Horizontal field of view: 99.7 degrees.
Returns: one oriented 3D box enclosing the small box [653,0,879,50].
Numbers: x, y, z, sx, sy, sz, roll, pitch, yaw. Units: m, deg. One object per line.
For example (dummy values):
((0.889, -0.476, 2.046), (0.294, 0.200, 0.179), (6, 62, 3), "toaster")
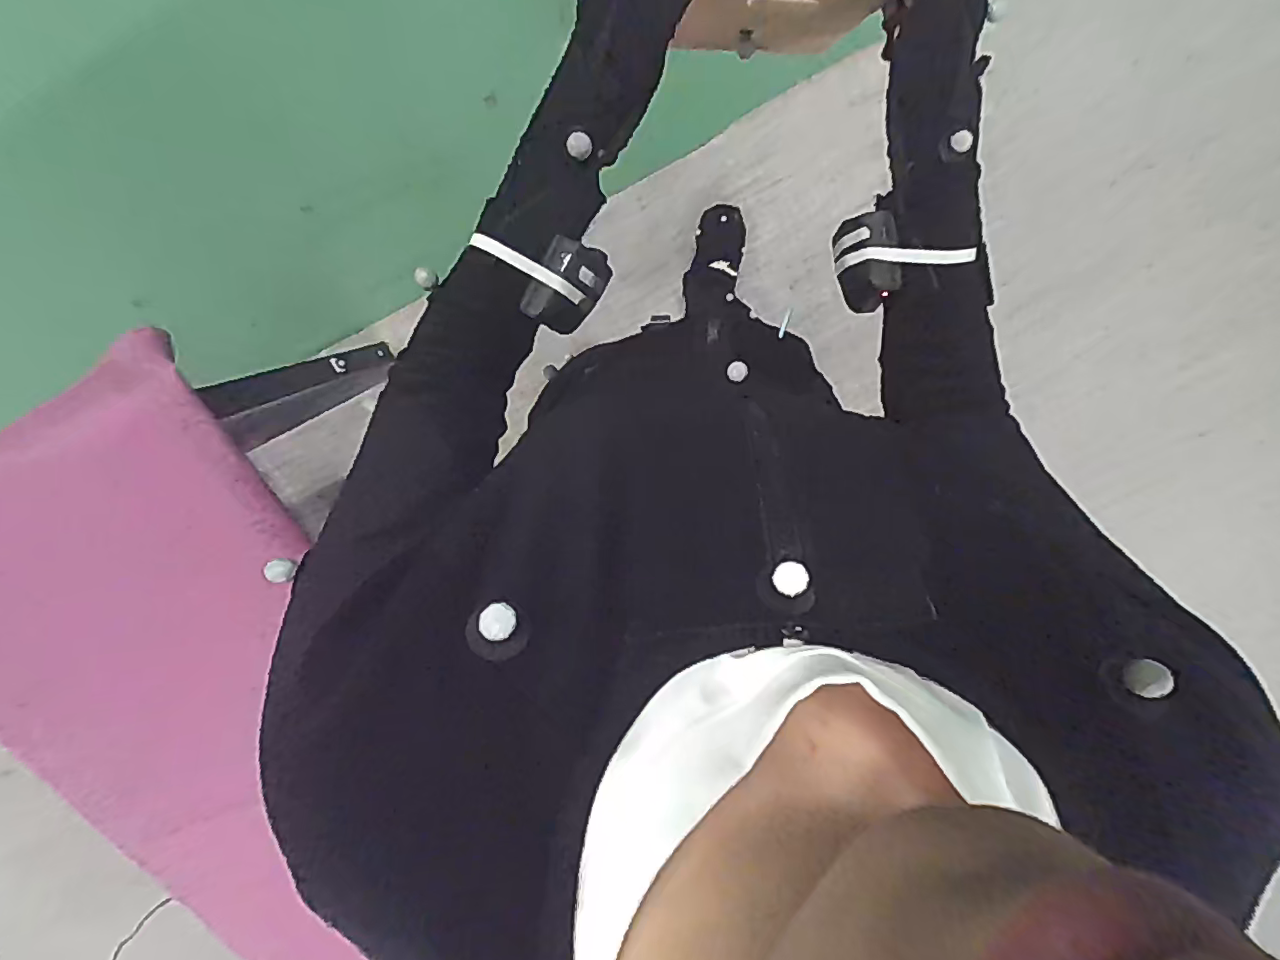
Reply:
((0.096, -0.447, 0.393), (0.168, 0.176, 0.179), (1, 116, -2), "small box")
